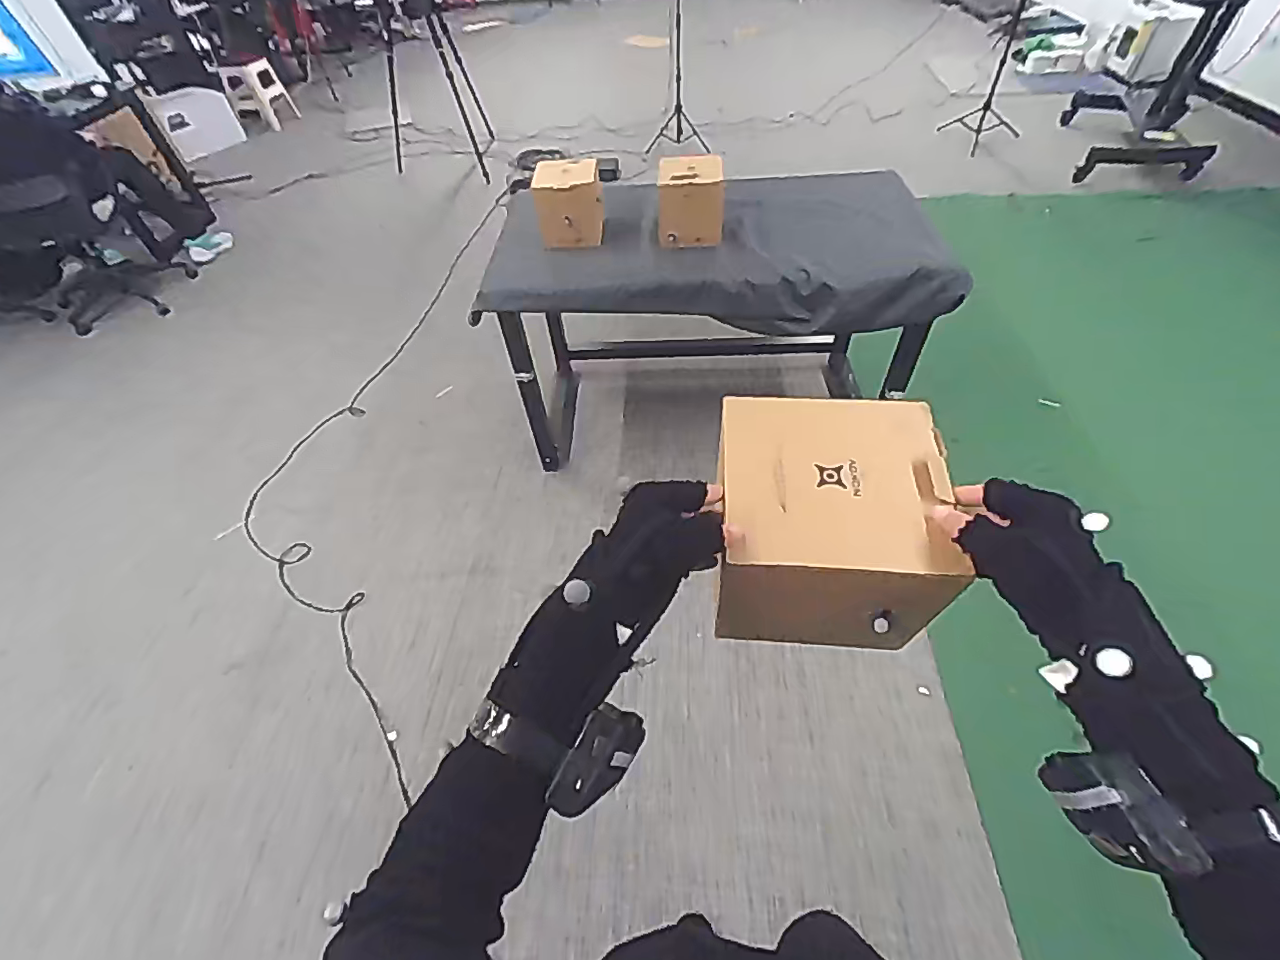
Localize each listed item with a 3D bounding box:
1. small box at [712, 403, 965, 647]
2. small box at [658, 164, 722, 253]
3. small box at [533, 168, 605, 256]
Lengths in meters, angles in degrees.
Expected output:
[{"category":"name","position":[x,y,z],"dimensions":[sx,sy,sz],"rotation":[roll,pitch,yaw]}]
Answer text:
[{"category":"small box","position":[0.158,0.046,0.500],"dimensions":[0.179,0.176,0.168],"rotation":[0,54,7]},{"category":"small box","position":[0.139,-0.733,1.473],"dimensions":[0.168,0.176,0.179],"rotation":[0,48,5]},{"category":"small box","position":[-0.190,-0.743,1.513],"dimensions":[0.168,0.176,0.179],"rotation":[-2,50,3]}]
